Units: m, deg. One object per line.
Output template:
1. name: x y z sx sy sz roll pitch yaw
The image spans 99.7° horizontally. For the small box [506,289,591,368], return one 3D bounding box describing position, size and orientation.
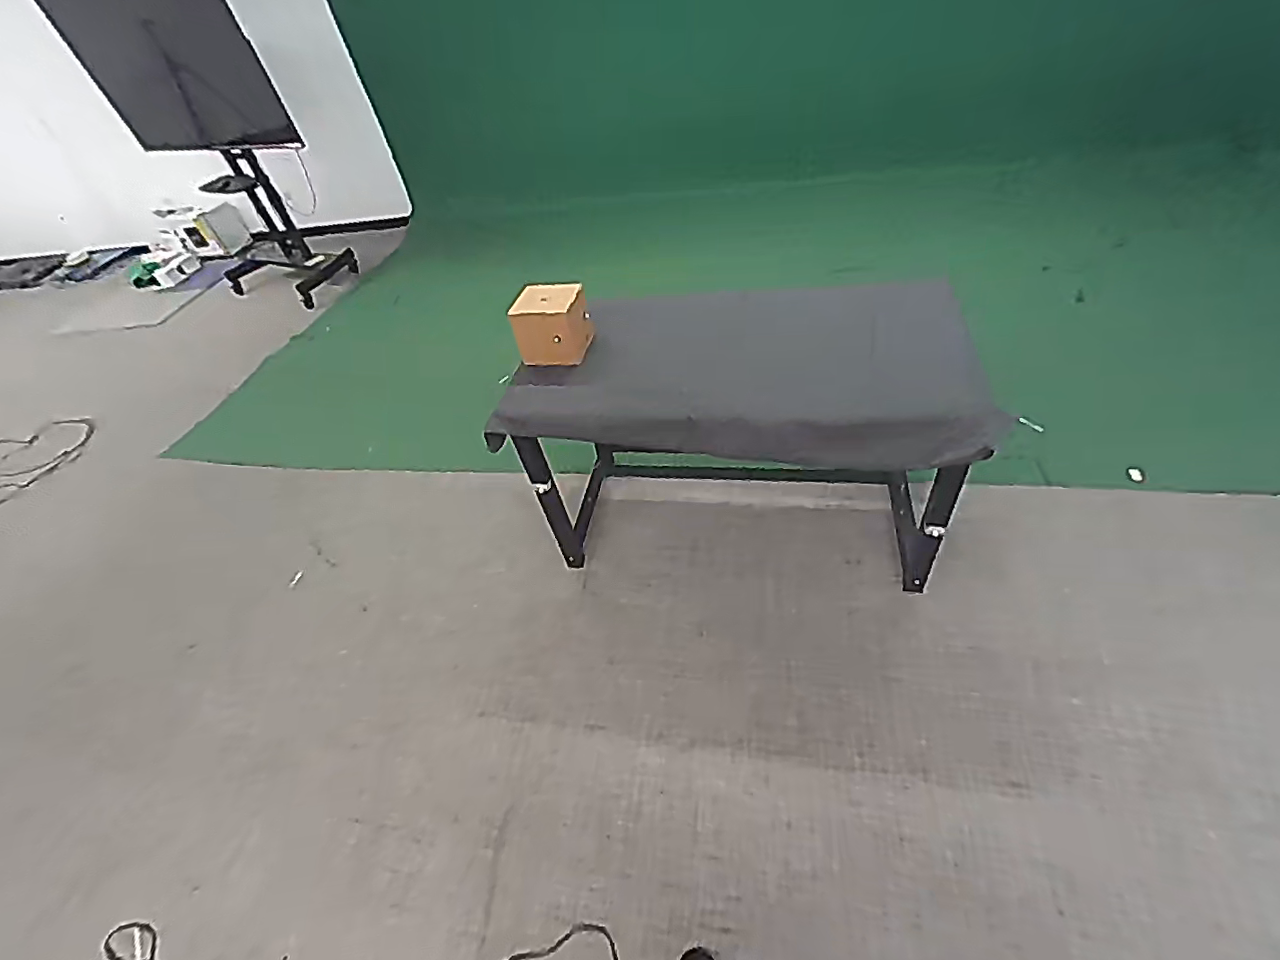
1. small box: -0.255 -0.436 1.566 0.179 0.176 0.168 4 45 15
